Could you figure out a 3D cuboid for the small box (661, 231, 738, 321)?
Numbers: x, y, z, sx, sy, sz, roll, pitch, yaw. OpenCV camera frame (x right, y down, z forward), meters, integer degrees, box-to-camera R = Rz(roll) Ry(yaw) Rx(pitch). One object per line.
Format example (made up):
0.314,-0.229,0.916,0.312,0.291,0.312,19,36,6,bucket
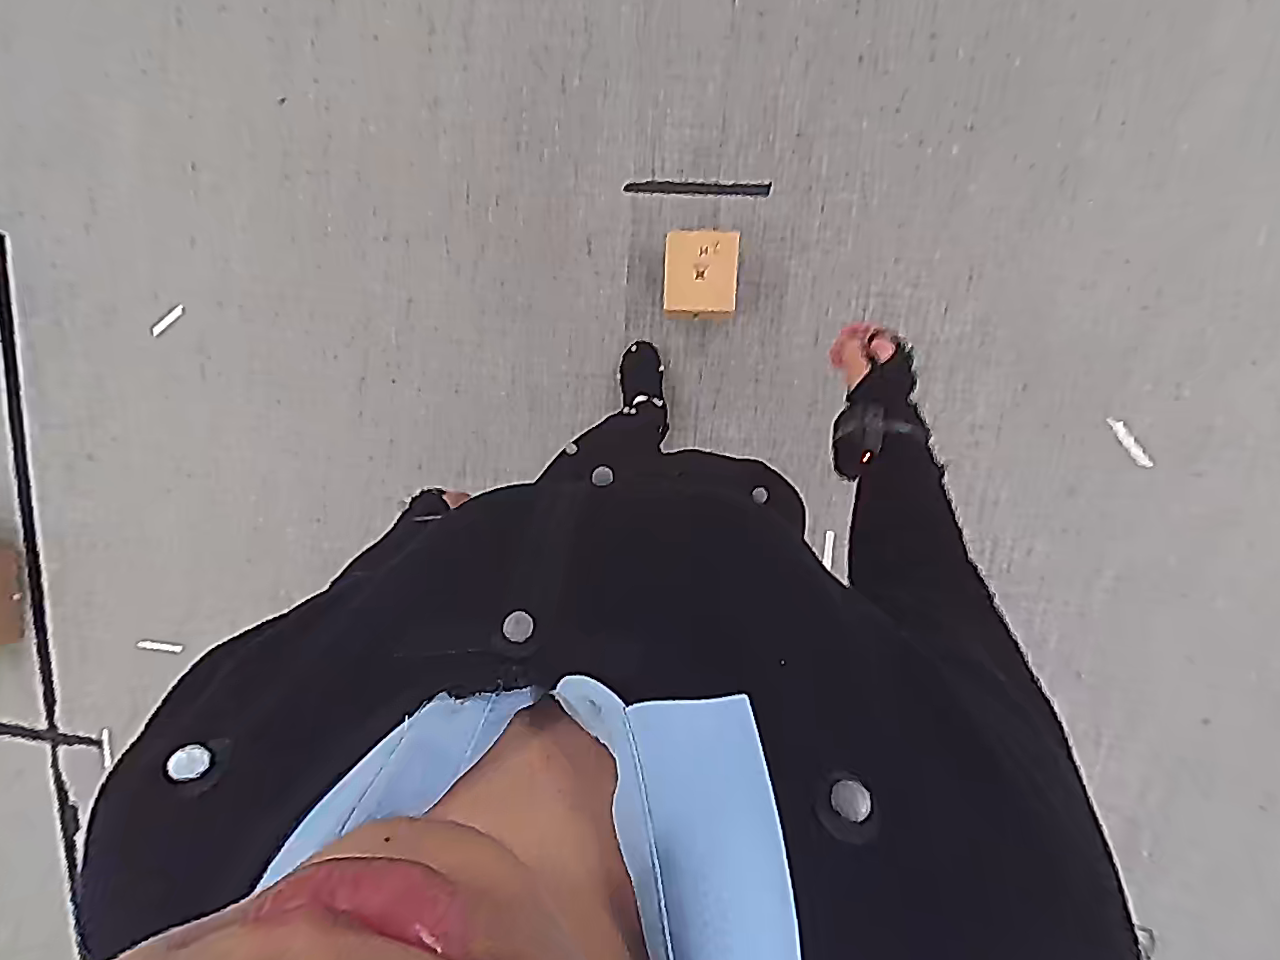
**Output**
0.142,-0.484,1.306,0.168,0.176,0.179,3,99,4,small box
